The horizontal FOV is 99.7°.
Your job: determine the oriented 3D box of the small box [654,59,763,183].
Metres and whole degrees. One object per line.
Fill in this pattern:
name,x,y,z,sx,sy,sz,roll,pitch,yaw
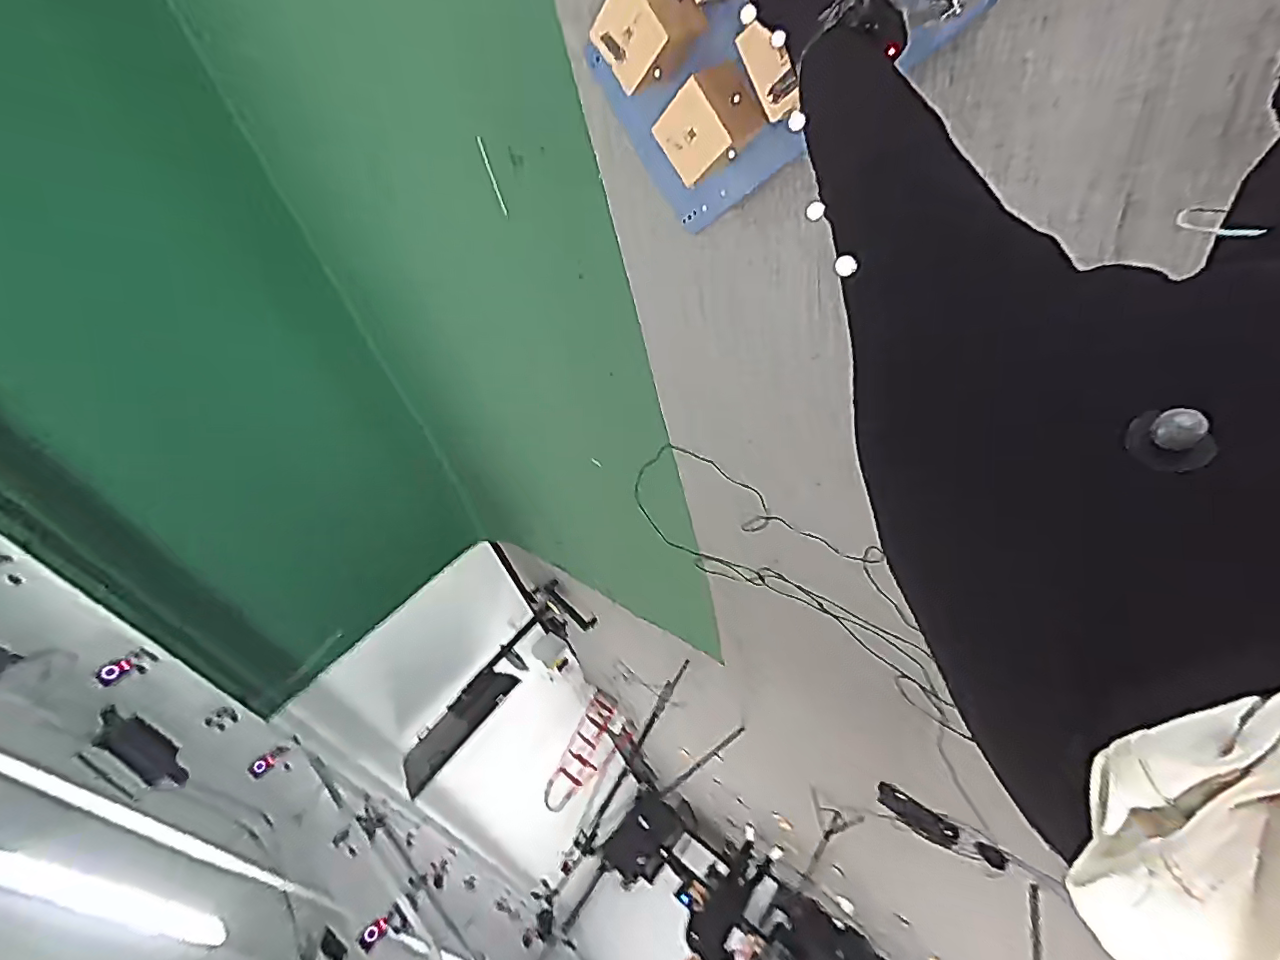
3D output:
small box,0.175,-0.878,1.321,0.168,0.176,0.179,53,149,-11

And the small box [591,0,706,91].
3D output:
small box,0.023,-1.072,1.271,0.168,0.176,0.179,52,149,-12
